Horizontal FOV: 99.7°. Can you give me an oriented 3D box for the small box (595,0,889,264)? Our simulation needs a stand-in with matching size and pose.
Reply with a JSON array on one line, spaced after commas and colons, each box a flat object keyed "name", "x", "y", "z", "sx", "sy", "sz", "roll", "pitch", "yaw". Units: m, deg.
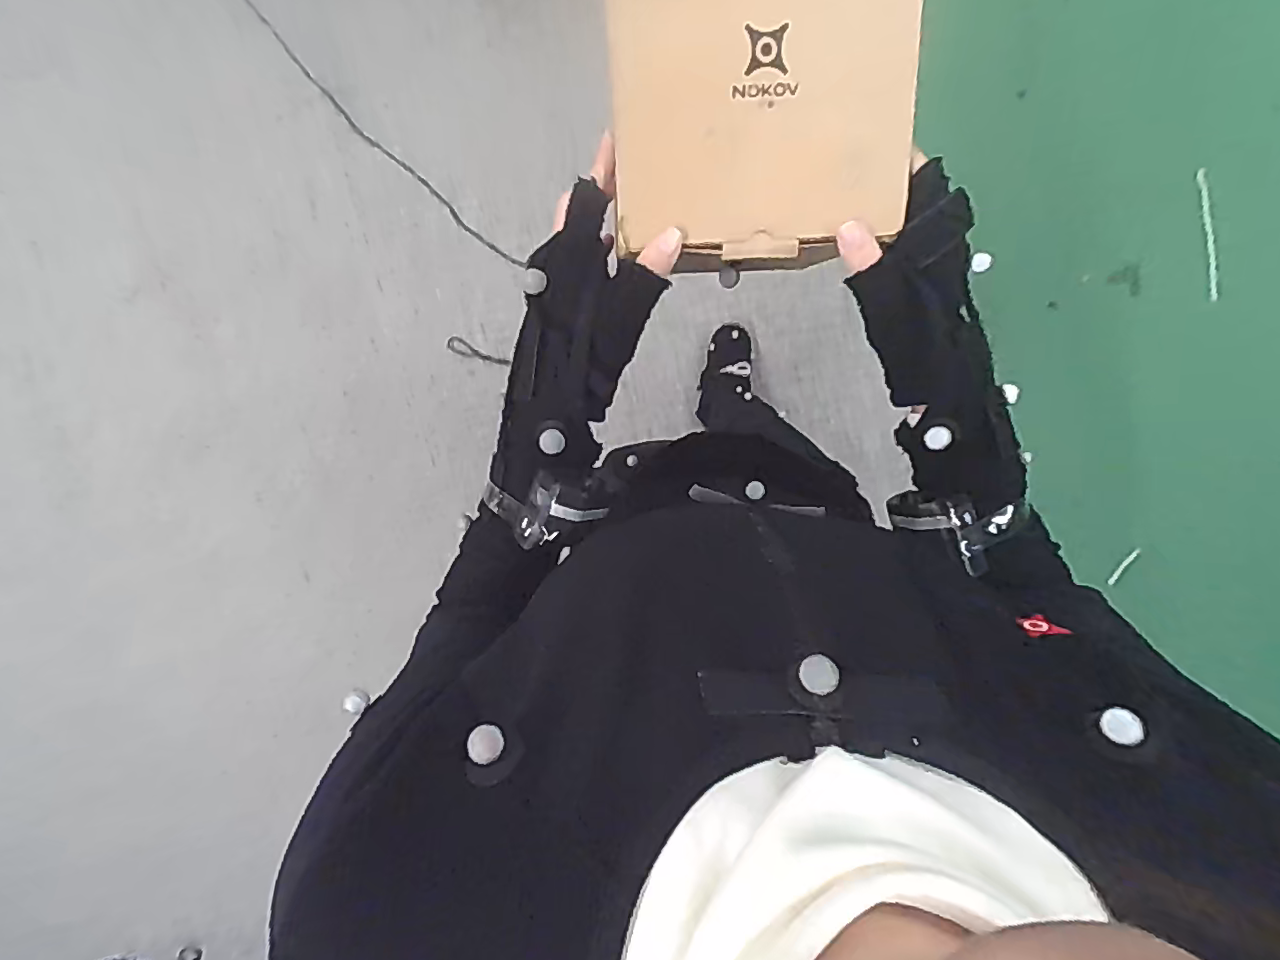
[{"name": "small box", "x": 0.059, "y": -0.256, "z": 0.389, "sx": 0.168, "sy": 0.176, "sz": 0.179, "roll": -5, "pitch": 106, "yaw": 0}]

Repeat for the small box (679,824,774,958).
[{"name": "small box", "x": 0.193, "y": 0.944, "z": 1.257, "sx": 0.179, "sy": 0.176, "sz": 0.168, "roll": -16, "pitch": 97, "yaw": 3}]
